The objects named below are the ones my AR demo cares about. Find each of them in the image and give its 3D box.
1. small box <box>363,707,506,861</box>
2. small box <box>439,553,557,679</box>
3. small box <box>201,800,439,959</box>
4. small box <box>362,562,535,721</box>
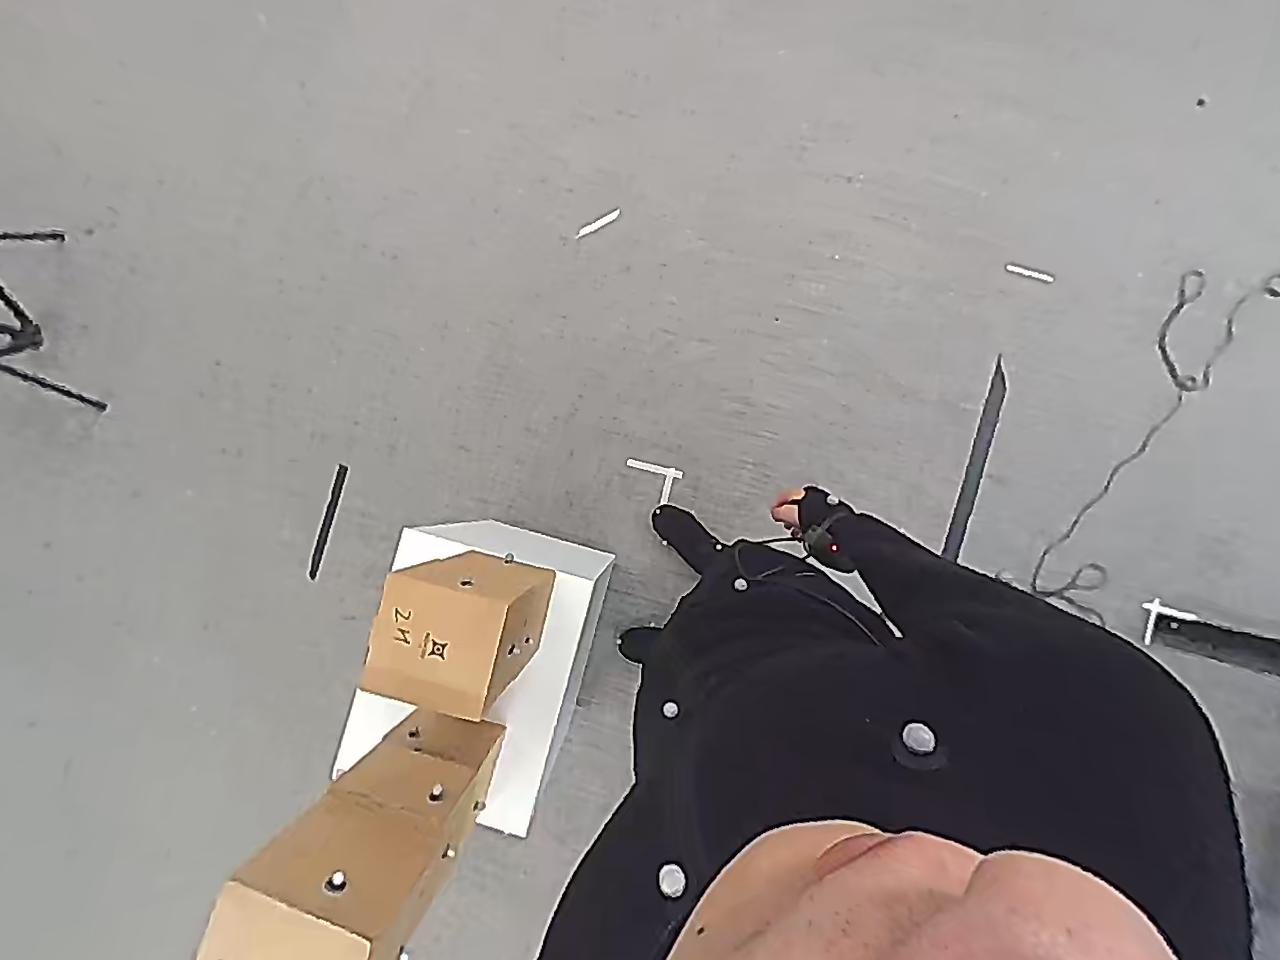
[{"bbox_3d":[-0.360,0.526,0.969,0.179,0.176,0.168,16,88,3],"label":"small box"},{"bbox_3d":[-0.265,0.233,0.975,0.179,0.176,0.168,13,90,3],"label":"small box"},{"bbox_3d":[-0.369,0.521,0.640,0.179,0.176,0.168,19,89,4],"label":"small box"},{"bbox_3d":[-0.272,0.227,0.810,0.179,0.176,0.168,14,89,3],"label":"small box"}]
